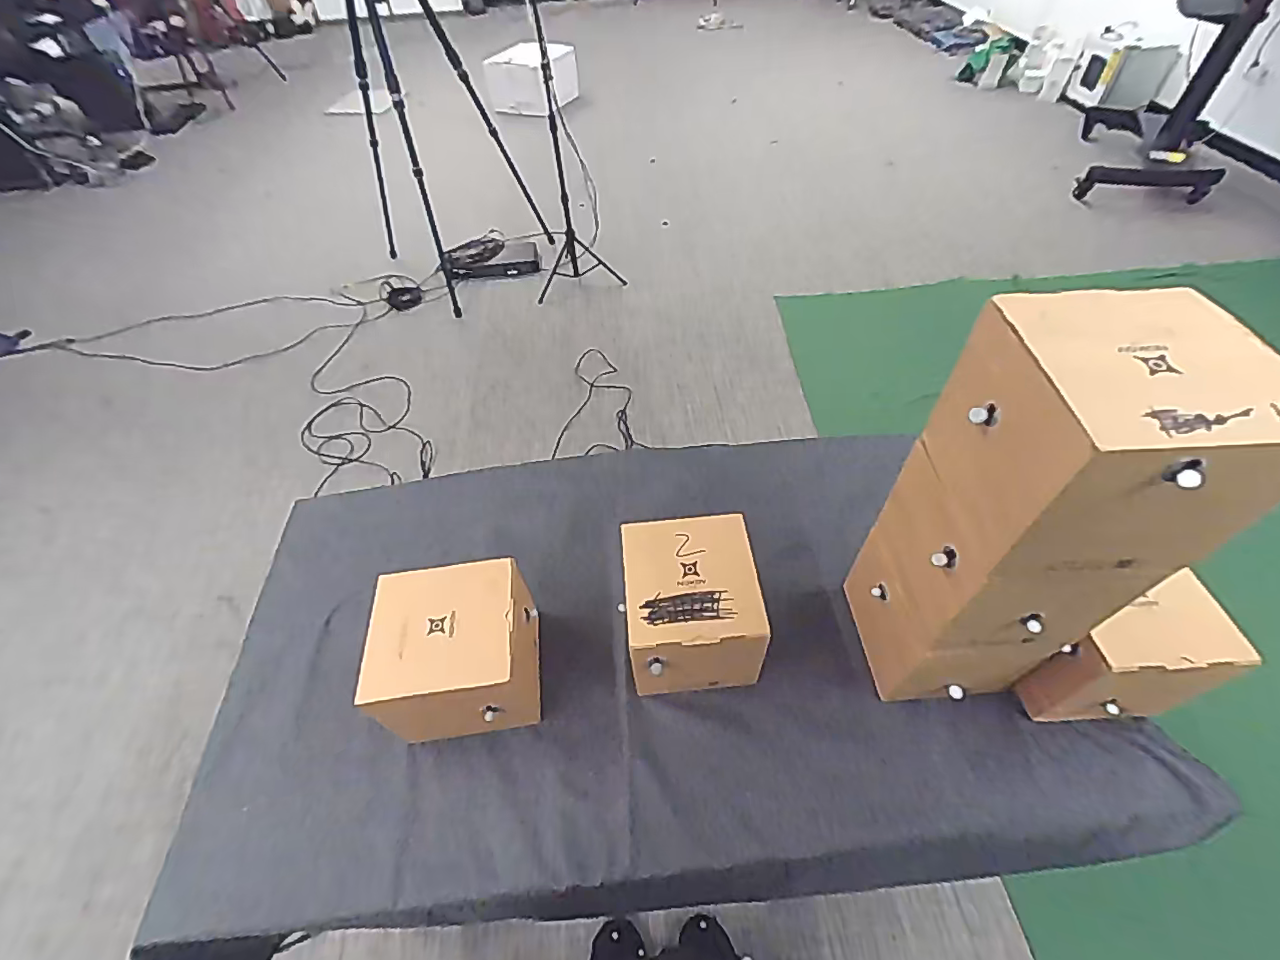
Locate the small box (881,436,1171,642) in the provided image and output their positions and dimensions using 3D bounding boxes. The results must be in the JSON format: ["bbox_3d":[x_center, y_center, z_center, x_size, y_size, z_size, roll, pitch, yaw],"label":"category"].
[{"bbox_3d":[0.387,0.066,0.586,0.168,0.176,0.179,-3,50,1],"label":"small box"}]

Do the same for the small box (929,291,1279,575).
[{"bbox_3d":[0.377,-0.037,0.459,0.168,0.176,0.179,-2,50,3],"label":"small box"}]
